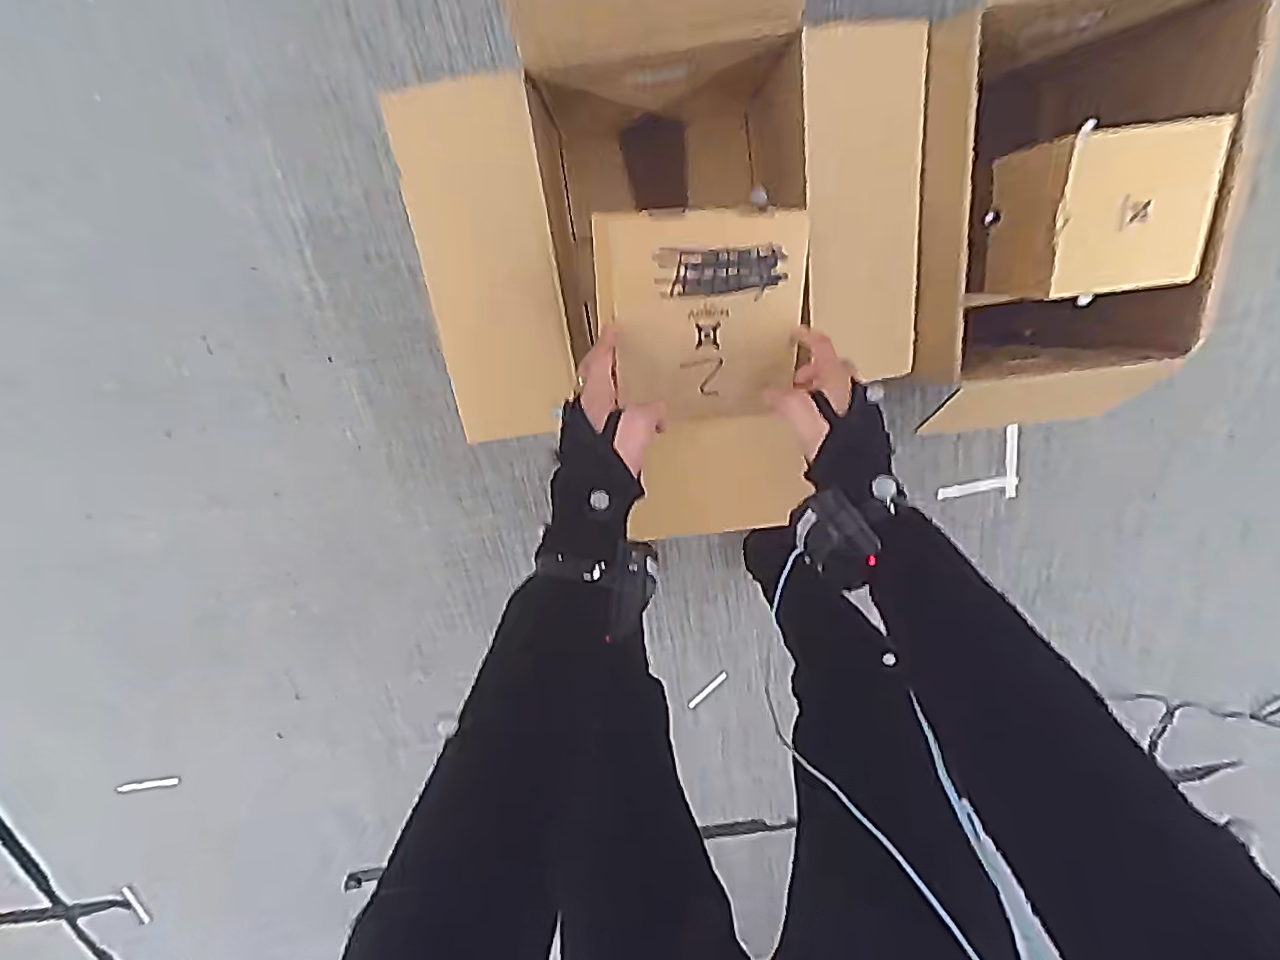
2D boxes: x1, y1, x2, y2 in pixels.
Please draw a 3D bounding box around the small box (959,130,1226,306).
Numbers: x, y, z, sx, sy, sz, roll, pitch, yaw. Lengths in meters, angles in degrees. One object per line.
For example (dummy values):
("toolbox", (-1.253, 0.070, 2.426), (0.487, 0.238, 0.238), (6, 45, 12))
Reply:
("small box", (0.540, -0.318, 0.676), (0.179, 0.176, 0.168), (-7, 112, 1))
